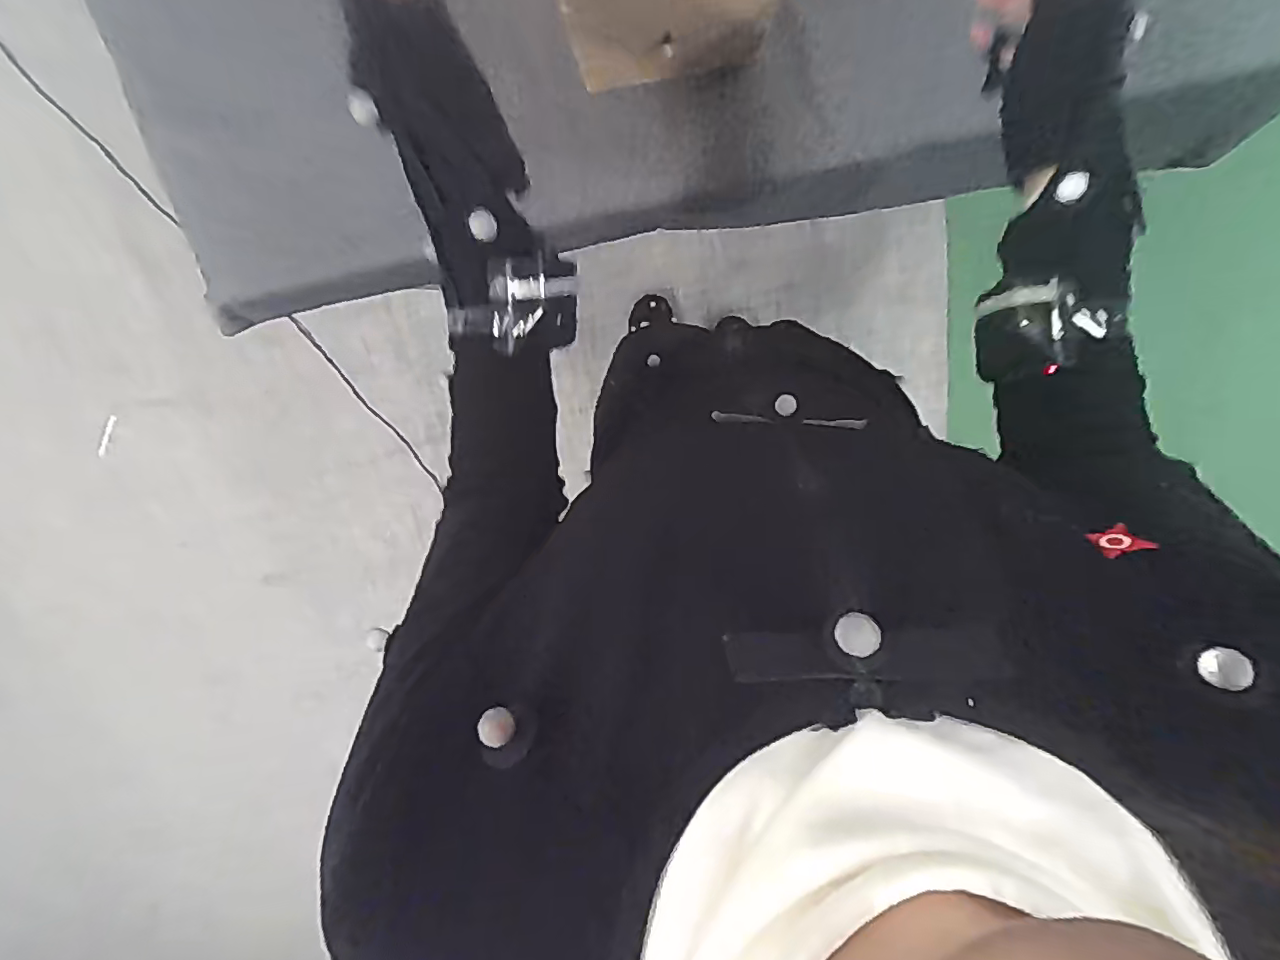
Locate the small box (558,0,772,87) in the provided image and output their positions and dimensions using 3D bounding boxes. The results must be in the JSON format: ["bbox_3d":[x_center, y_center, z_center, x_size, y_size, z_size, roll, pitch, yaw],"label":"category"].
[{"bbox_3d":[0.016,-0.464,0.452,0.179,0.176,0.168,-7,108,5],"label":"small box"}]
